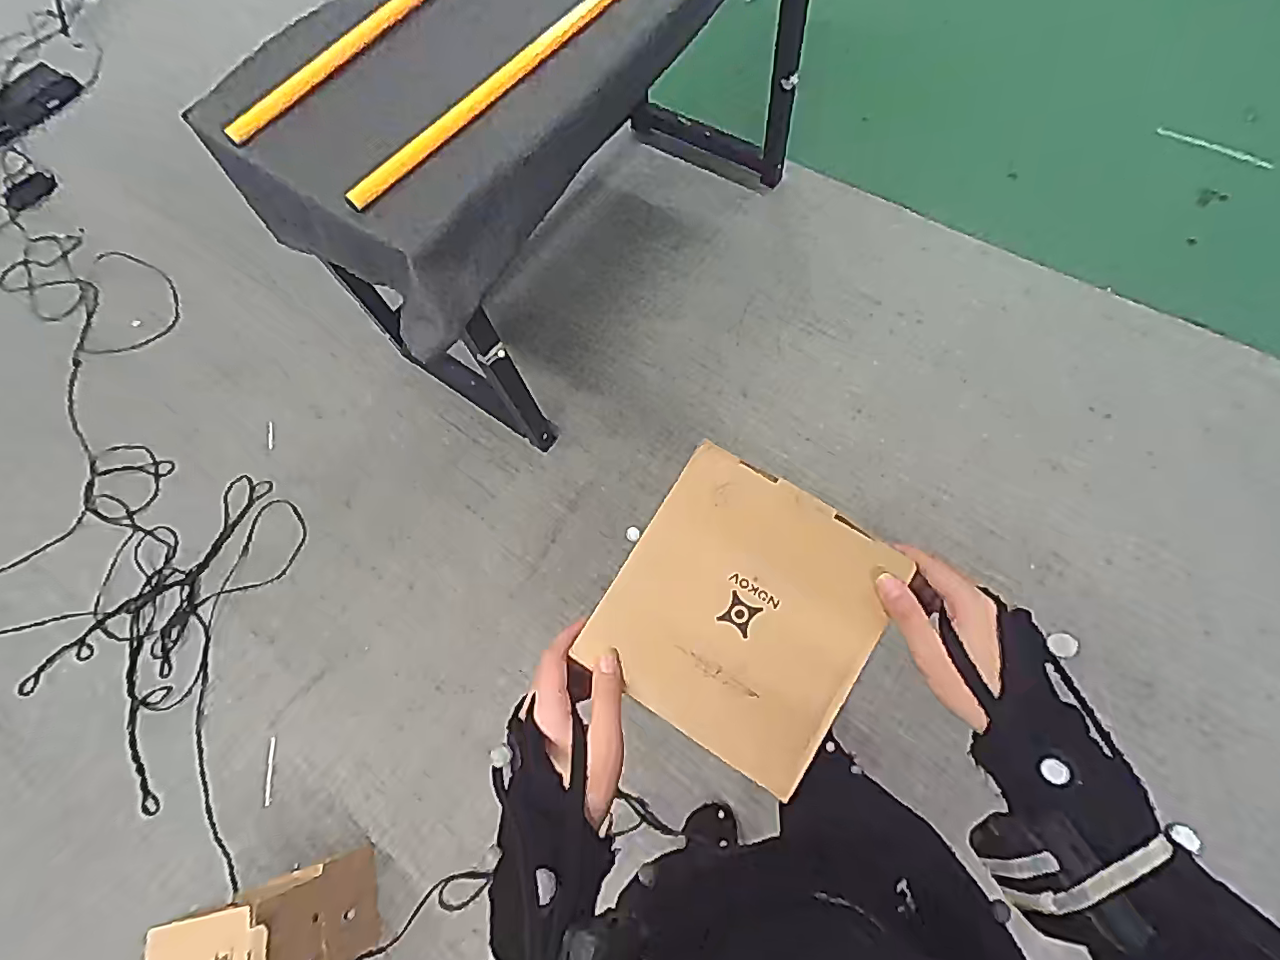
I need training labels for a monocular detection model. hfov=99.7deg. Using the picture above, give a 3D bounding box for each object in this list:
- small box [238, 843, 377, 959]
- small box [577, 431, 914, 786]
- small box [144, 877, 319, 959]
[{"bbox_3d":[-0.628,0.834,1.033,0.168,0.176,0.179,-18,67,-1],"label":"small box"},{"bbox_3d":[0.074,0.092,0.434,0.168,0.176,0.179,30,83,10],"label":"small box"},{"bbox_3d":[-0.655,0.777,0.879,0.179,0.176,0.168,-14,66,2],"label":"small box"}]
